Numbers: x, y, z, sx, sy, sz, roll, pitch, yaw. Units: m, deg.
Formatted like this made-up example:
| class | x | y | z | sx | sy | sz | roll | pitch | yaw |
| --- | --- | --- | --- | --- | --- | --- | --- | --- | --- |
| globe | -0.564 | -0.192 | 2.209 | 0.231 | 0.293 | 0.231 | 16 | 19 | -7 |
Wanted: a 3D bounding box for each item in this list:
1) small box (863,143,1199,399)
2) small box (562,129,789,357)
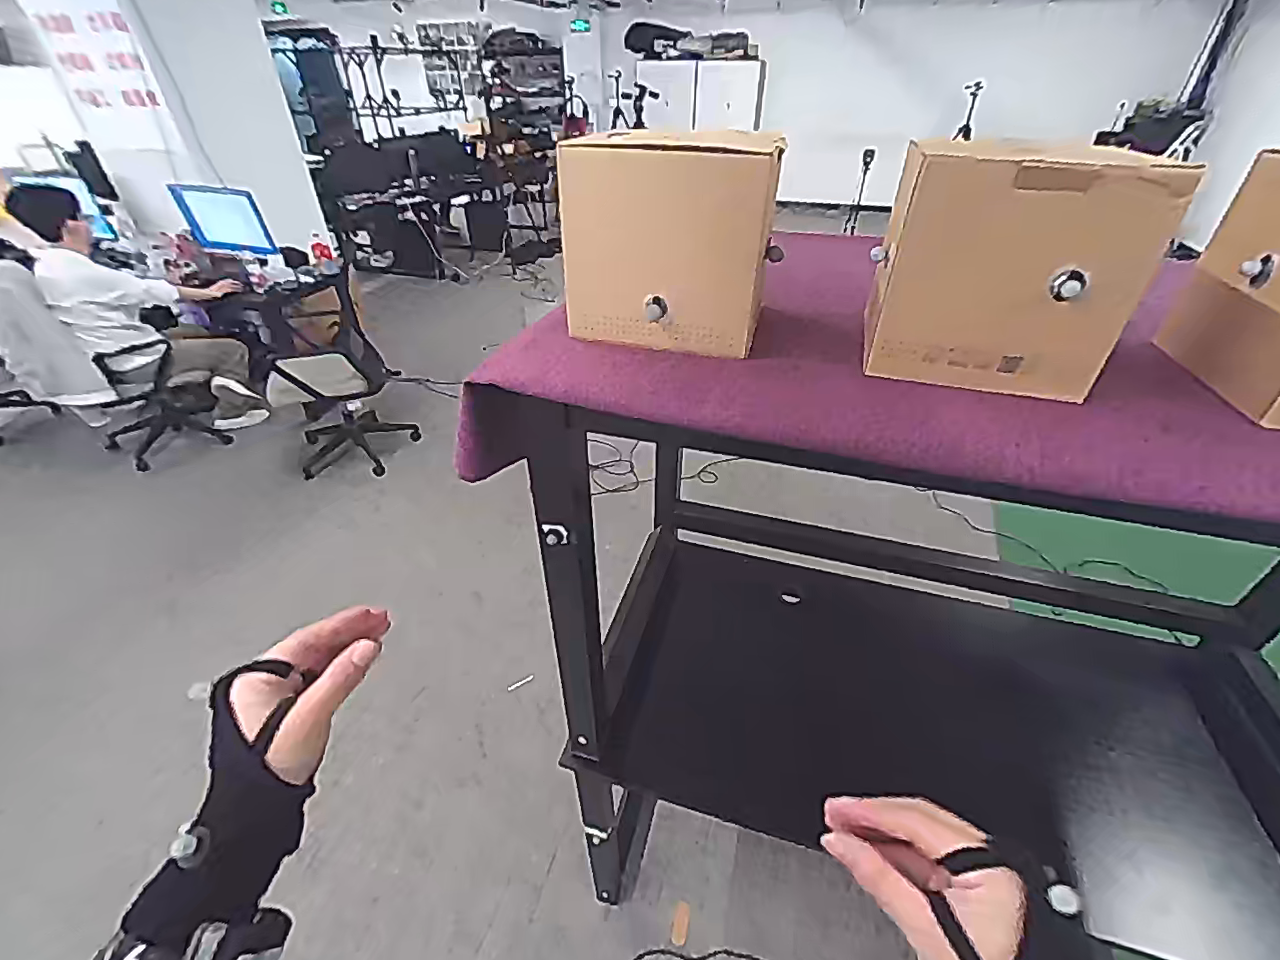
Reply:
| class | x | y | z | sx | sy | sz | roll | pitch | yaw |
| --- | --- | --- | --- | --- | --- | --- | --- | --- | --- |
| small box | 0.300 | -0.186 | 0.466 | 0.168 | 0.176 | 0.179 | 12 | 36 | 15 |
| small box | 0.038 | -0.233 | 0.529 | 0.179 | 0.176 | 0.168 | 10 | 36 | 11 |
